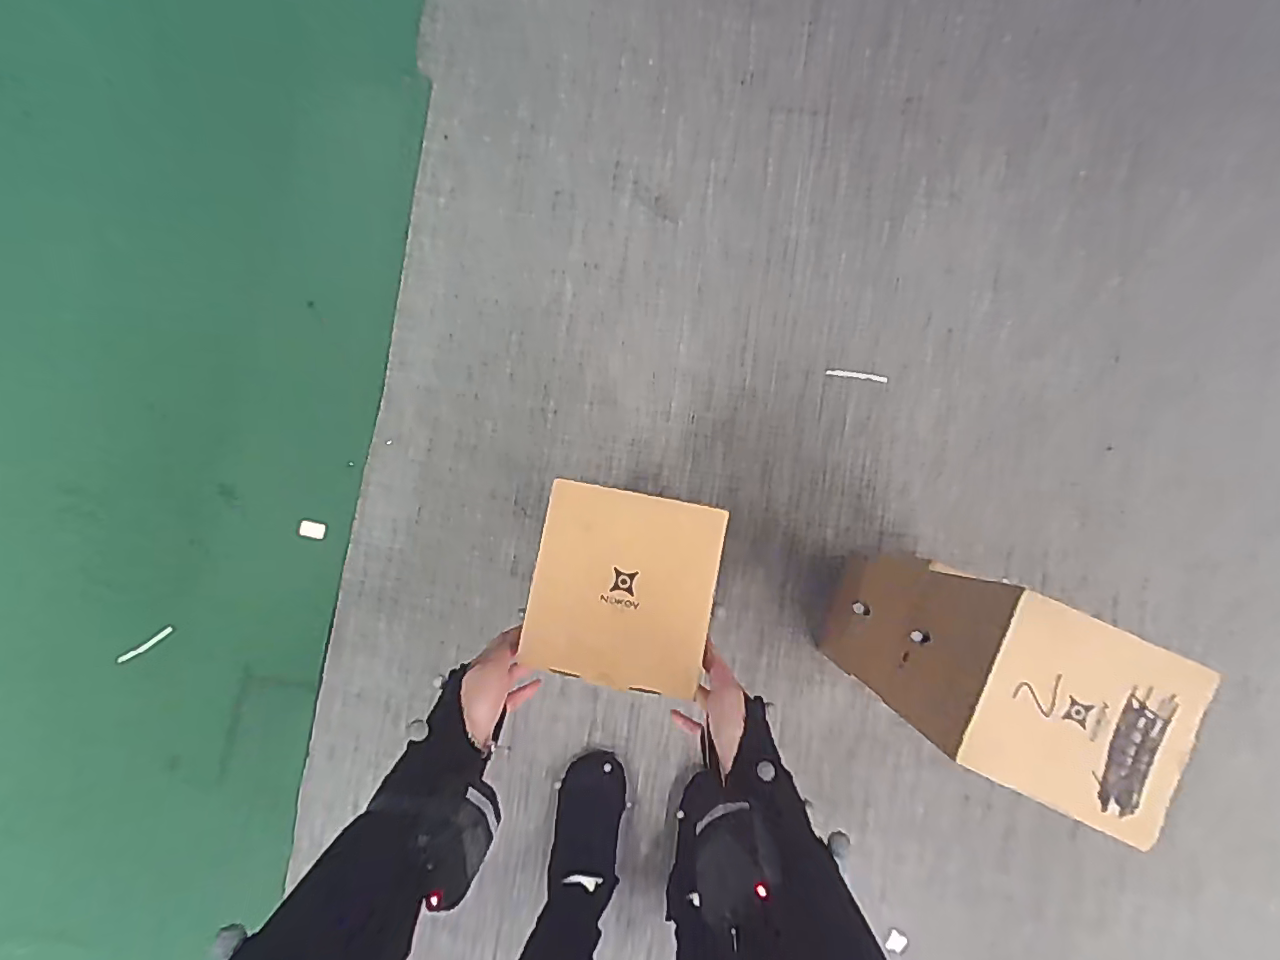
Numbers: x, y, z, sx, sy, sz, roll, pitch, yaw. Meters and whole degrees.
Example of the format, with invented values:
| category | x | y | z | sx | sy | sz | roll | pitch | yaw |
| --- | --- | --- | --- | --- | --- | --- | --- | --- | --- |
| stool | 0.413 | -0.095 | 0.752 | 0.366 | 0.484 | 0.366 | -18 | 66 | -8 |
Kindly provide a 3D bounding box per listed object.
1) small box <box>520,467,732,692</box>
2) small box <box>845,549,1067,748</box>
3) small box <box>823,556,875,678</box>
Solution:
| category | x | y | z | sx | sy | sz | roll | pitch | yaw |
| --- | --- | --- | --- | --- | --- | --- | --- | --- | --- |
| small box | -0.010 | 0.095 | 0.565 | 0.168 | 0.176 | 0.179 | 11 | 86 | 3 |
| small box | 0.388 | 0.202 | 0.703 | 0.168 | 0.176 | 0.179 | 22 | 87 | 4 |
| small box | 0.412 | 0.229 | 0.863 | 0.168 | 0.176 | 0.179 | 18 | 87 | 4 |
